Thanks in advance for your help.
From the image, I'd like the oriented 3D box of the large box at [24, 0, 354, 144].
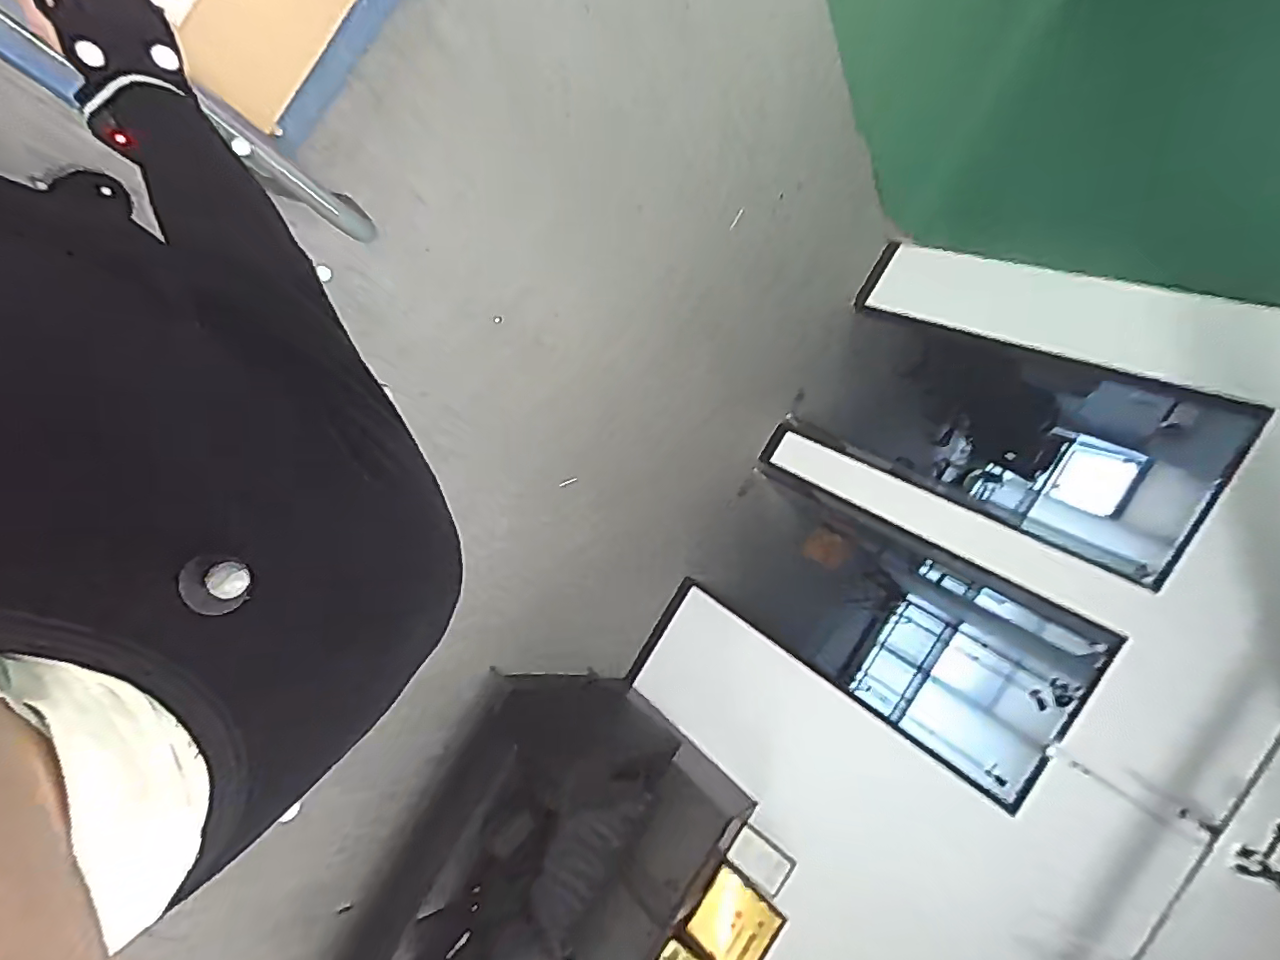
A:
[{"bbox_3d":[-0.688,-0.814,0.840,0.408,0.320,0.320,-59,145,-1],"label":"large box"}]
